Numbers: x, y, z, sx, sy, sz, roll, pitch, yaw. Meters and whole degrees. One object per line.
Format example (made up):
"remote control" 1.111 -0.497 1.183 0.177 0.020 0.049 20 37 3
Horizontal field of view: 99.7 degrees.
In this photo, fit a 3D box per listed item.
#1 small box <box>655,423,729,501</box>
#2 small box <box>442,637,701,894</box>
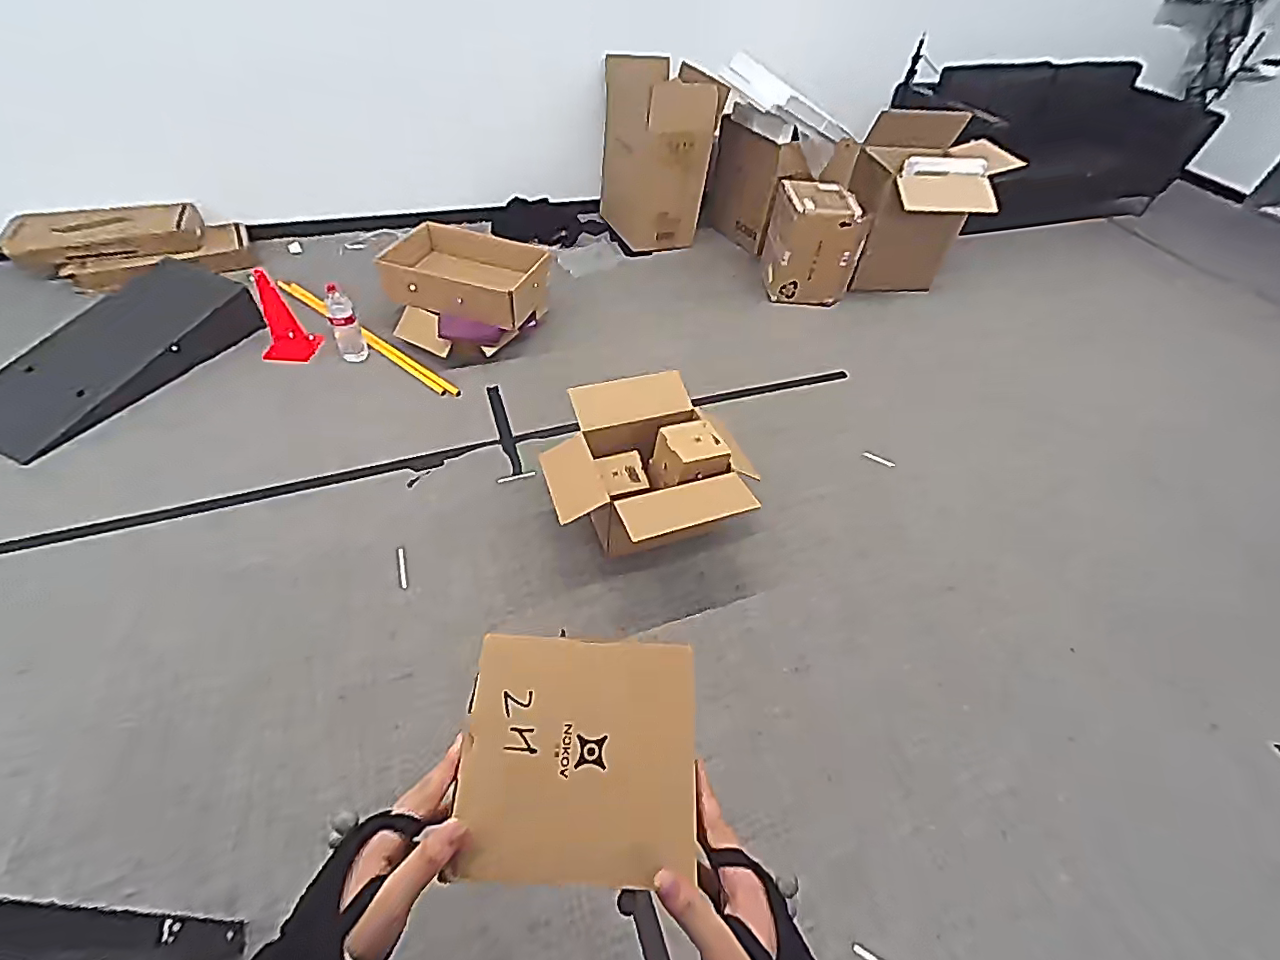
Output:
"small box" 0.156 -0.056 1.726 0.179 0.176 0.168 -13 50 -21
"small box" -0.048 0.246 0.471 0.179 0.176 0.168 4 57 -2
